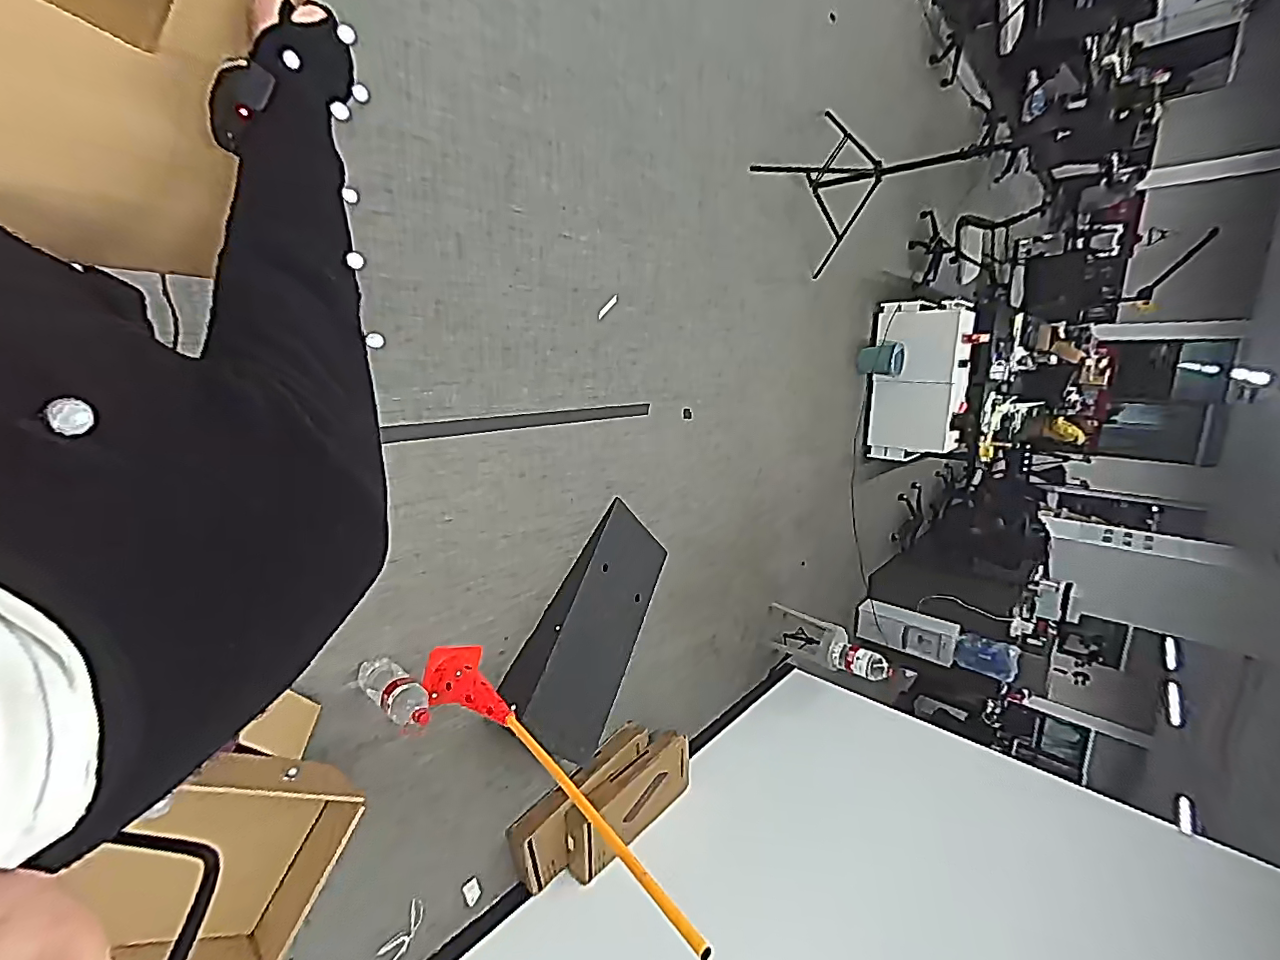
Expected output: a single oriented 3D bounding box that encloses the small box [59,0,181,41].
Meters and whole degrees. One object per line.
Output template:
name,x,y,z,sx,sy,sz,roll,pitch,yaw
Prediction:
small box,-0.400,-0.442,0.351,0.179,0.176,0.168,9,96,-48
